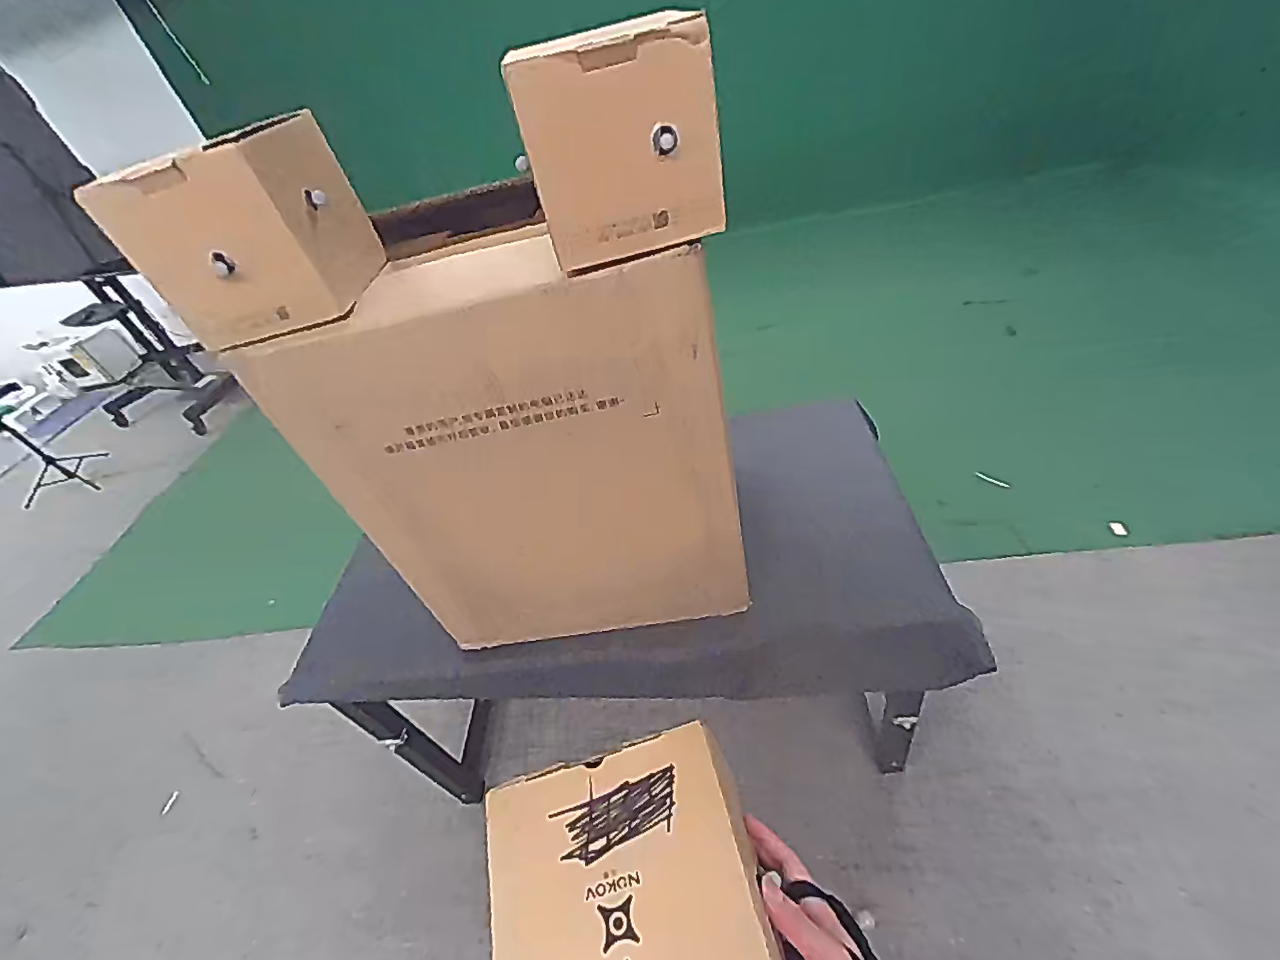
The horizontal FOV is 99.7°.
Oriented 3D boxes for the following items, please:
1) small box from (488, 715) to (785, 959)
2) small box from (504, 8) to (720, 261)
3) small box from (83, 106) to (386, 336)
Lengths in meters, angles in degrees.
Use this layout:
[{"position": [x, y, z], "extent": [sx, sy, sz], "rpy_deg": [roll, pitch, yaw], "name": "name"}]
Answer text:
[{"position": [0.003, 0.304, 0.396], "extent": [0.168, 0.176, 0.179], "rpy_deg": [-19, 51, 3], "name": "small box"}, {"position": [-0.023, -0.332, 0.530], "extent": [0.168, 0.176, 0.179], "rpy_deg": [-12, 41, 1], "name": "small box"}, {"position": [-0.411, -0.275, 0.591], "extent": [0.168, 0.176, 0.179], "rpy_deg": [-12, 42, 6], "name": "small box"}]
